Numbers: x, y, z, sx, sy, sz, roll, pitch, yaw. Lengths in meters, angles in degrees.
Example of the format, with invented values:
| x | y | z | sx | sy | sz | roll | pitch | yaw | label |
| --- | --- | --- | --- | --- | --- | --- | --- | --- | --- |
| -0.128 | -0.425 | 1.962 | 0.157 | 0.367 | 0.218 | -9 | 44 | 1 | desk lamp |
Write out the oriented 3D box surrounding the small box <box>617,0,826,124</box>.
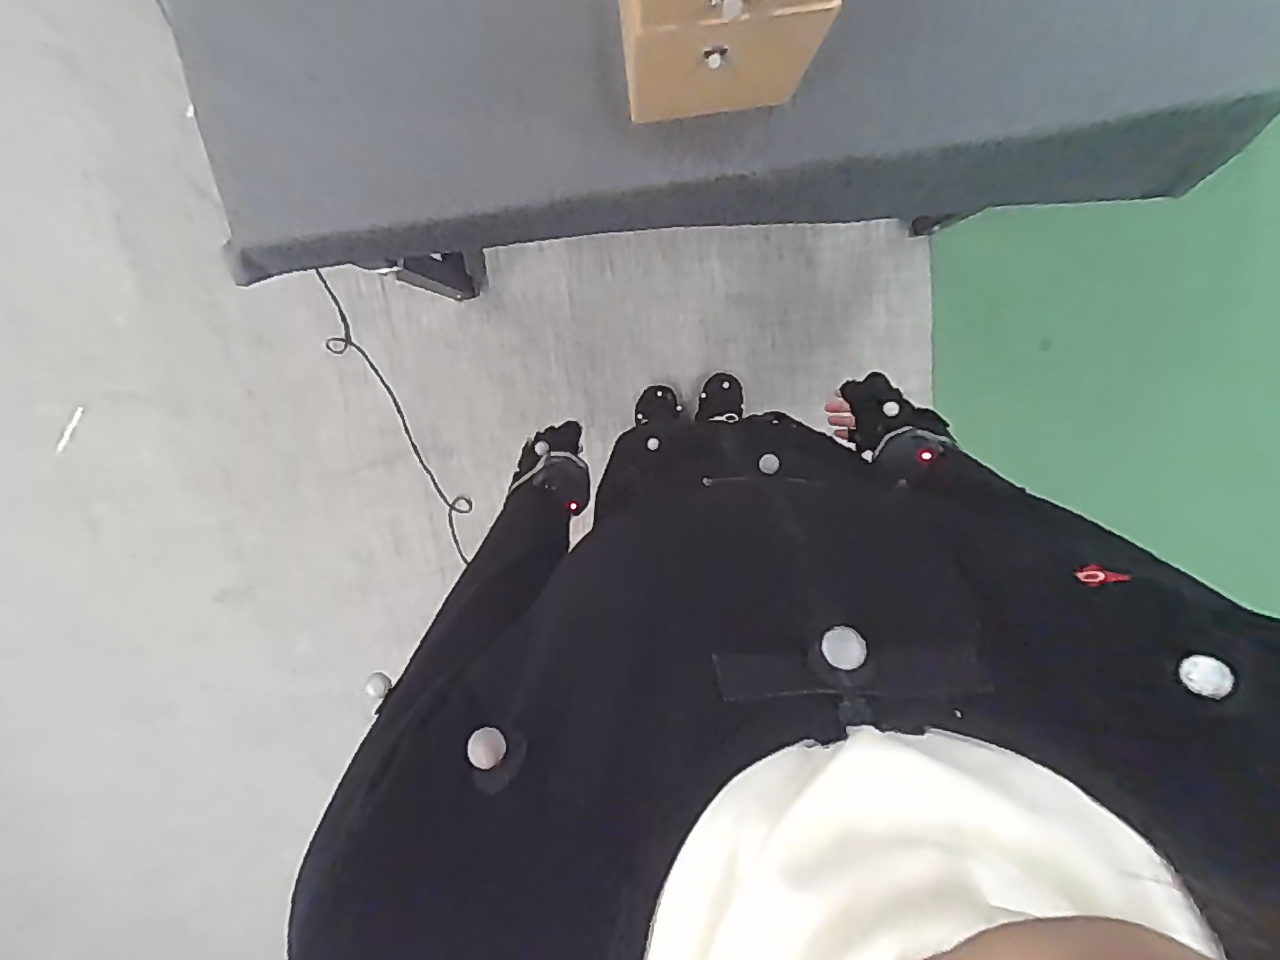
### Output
| x | y | z | sx | sy | sz | roll | pitch | yaw | label |
| --- | --- | --- | --- | --- | --- | --- | --- | --- | --- |
| 0.065 | -0.478 | 0.530 | 0.179 | 0.176 | 0.168 | -7 | 102 | 1 | small box |

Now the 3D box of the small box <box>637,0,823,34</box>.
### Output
| x | y | z | sx | sy | sz | roll | pitch | yaw | label |
| --- | --- | --- | --- | --- | --- | --- | --- | --- | --- |
| 0.067 | -0.450 | 0.354 | 0.168 | 0.176 | 0.179 | -9 | 103 | 3 | small box |
